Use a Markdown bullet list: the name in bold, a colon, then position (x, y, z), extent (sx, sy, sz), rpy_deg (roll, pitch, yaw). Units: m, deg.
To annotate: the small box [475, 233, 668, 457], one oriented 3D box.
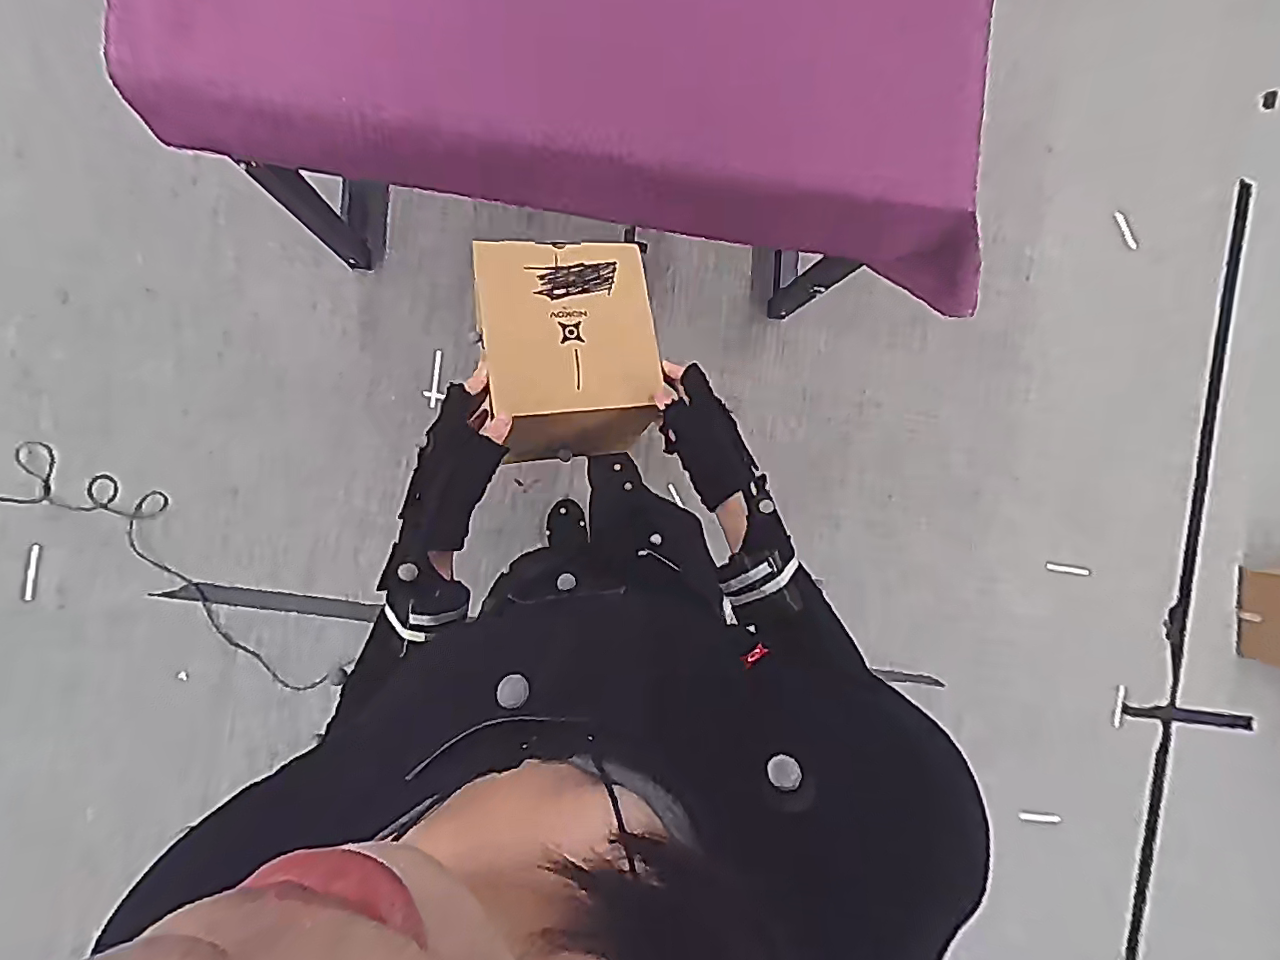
- **small box**: position (-0.085, -0.137, 0.585), extent (0.168, 0.176, 0.179), rpy_deg (-7, 79, -16)
